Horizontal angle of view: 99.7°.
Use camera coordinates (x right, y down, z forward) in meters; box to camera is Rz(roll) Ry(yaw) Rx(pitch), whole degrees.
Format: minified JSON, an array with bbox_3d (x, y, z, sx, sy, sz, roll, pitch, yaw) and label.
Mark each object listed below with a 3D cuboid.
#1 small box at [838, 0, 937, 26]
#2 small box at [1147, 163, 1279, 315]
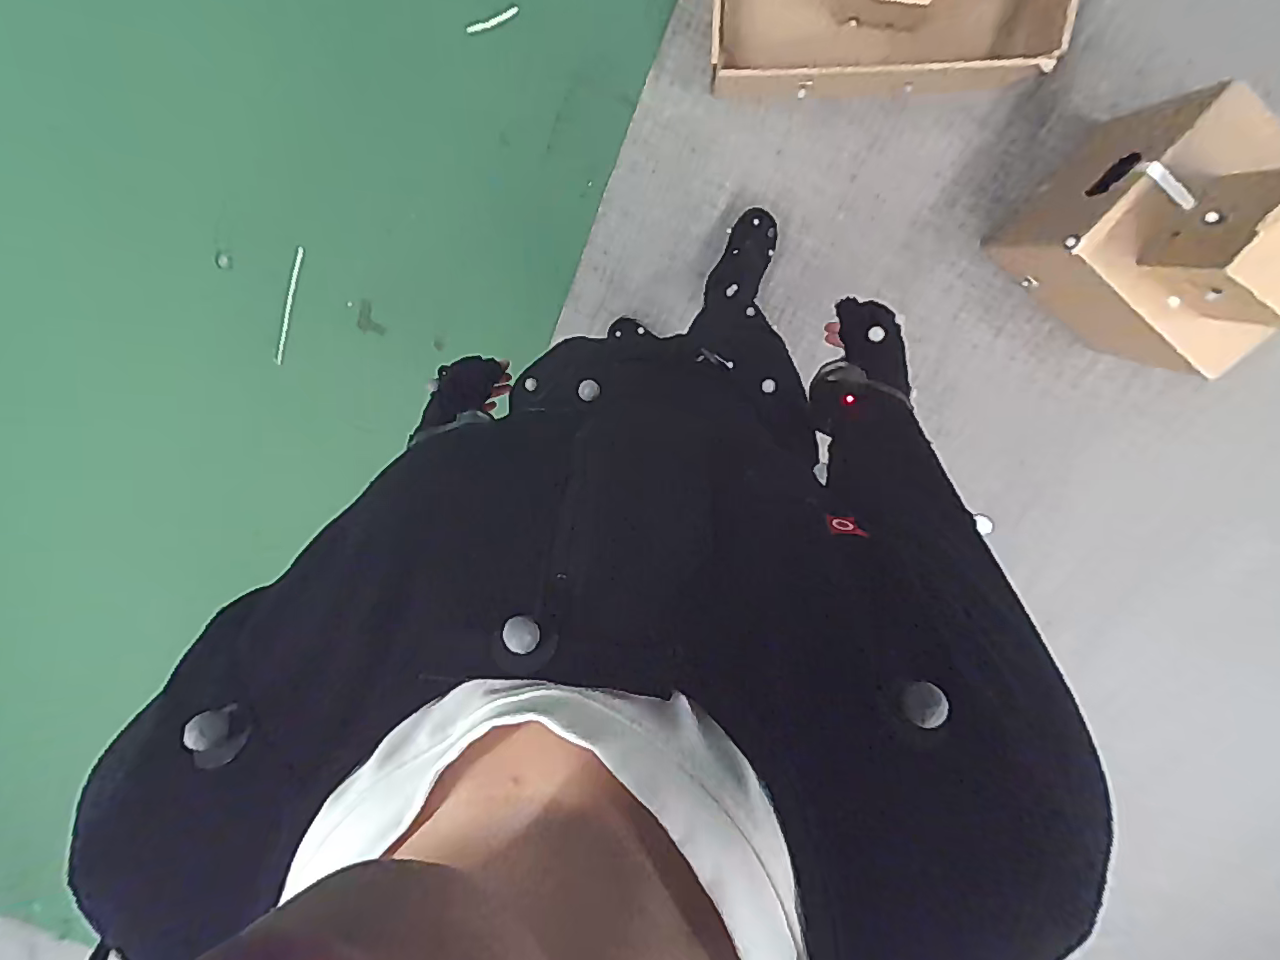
[{"bbox_3d":[0.462,-0.941,0.949,0.168,0.176,0.179,9,111,2],"label":"small box"},{"bbox_3d":[0.983,-0.376,0.855,0.179,0.176,0.168,30,112,-7],"label":"small box"}]
